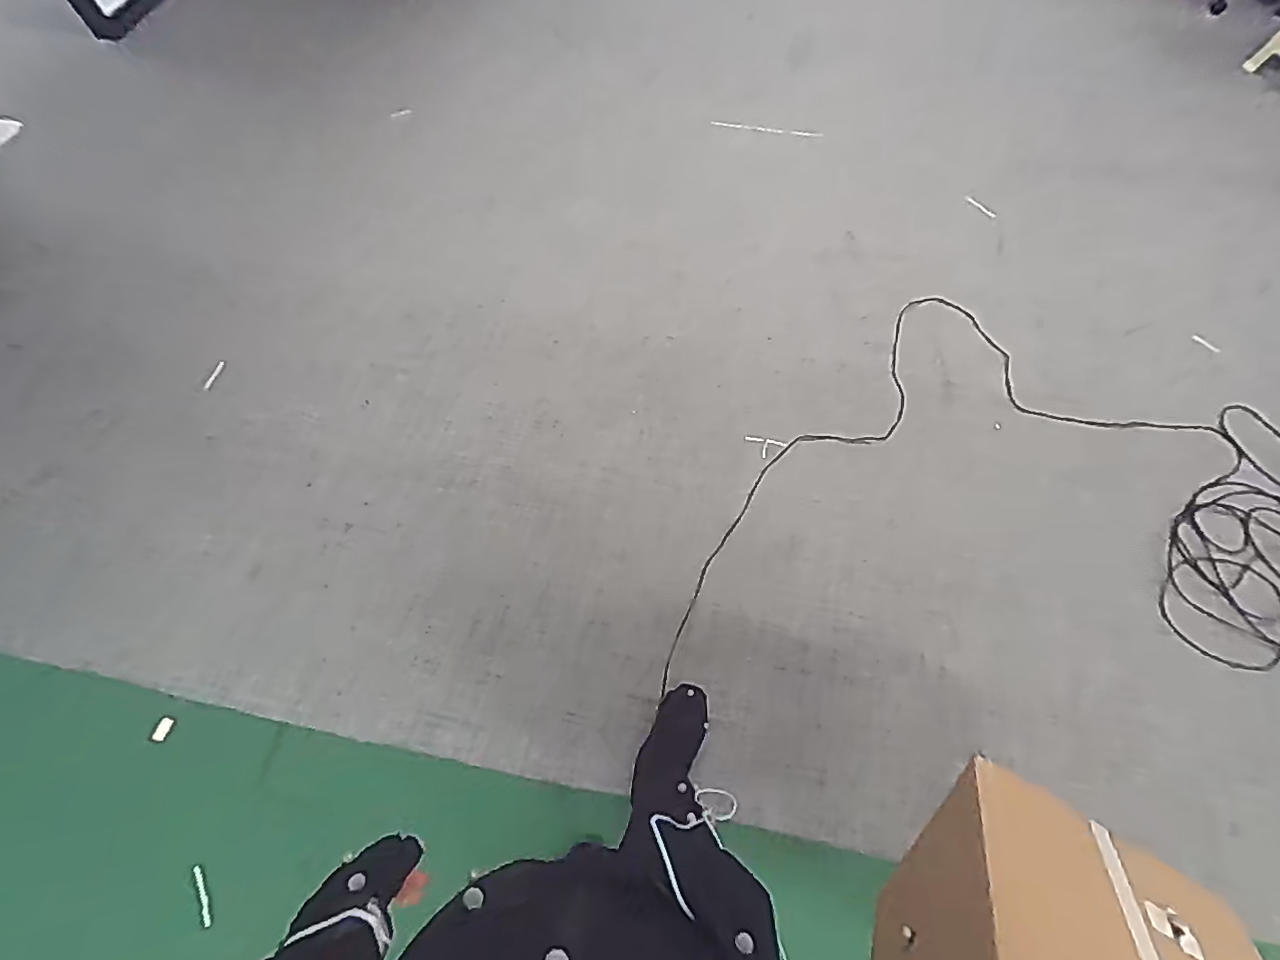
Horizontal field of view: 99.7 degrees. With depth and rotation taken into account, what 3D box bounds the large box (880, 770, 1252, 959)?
[{"bbox_3d":[0.479,0.648,0.611,0.320,0.408,0.320,28,109,22],"label":"large box"}]
